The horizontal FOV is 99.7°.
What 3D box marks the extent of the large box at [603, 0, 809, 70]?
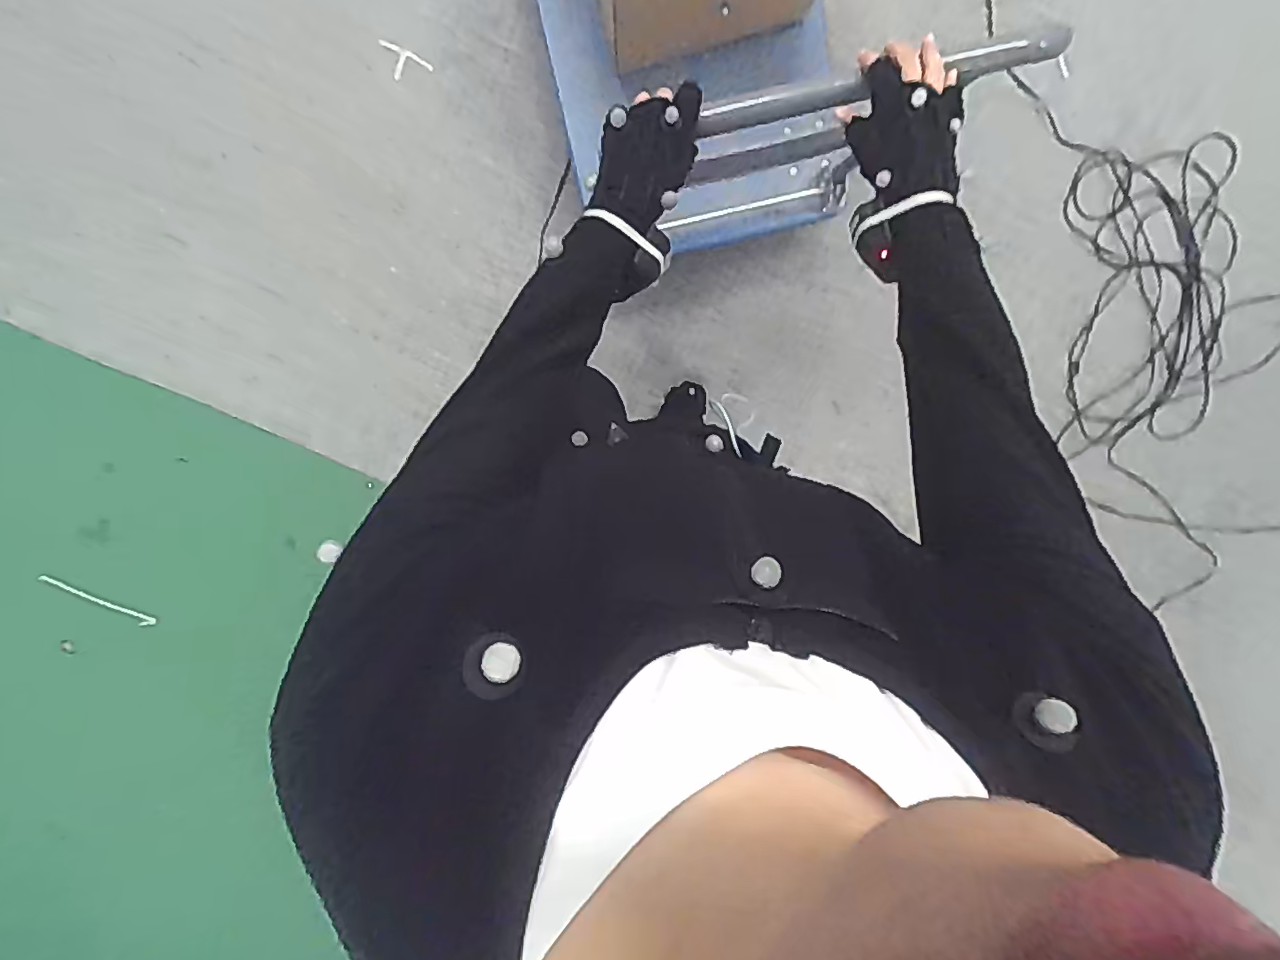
[{"bbox_3d":[0.114,-1.016,0.948,0.408,0.320,0.320,-16,102,2],"label":"large box"}]
